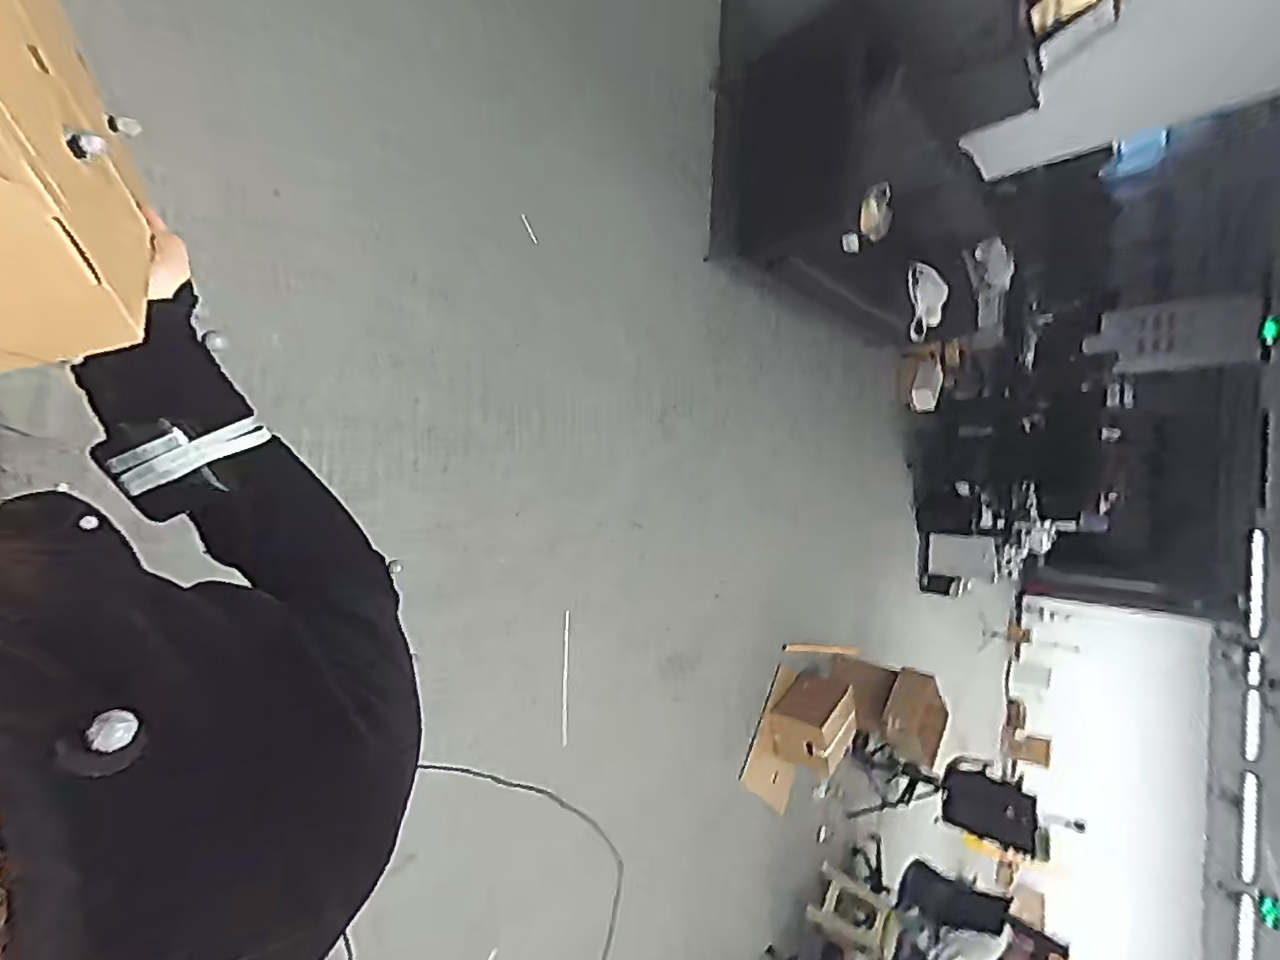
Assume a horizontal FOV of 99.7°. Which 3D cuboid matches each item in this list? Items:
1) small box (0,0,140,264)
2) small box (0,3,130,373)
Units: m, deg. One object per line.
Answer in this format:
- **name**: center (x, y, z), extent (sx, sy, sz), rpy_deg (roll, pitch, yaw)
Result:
- **small box**: center (-0.460, -0.234, 0.336), extent (0.179, 0.176, 0.168), rpy_deg (-21, 138, -26)
- **small box**: center (-0.372, -0.144, 0.233), extent (0.179, 0.176, 0.168), rpy_deg (-24, 139, -23)
